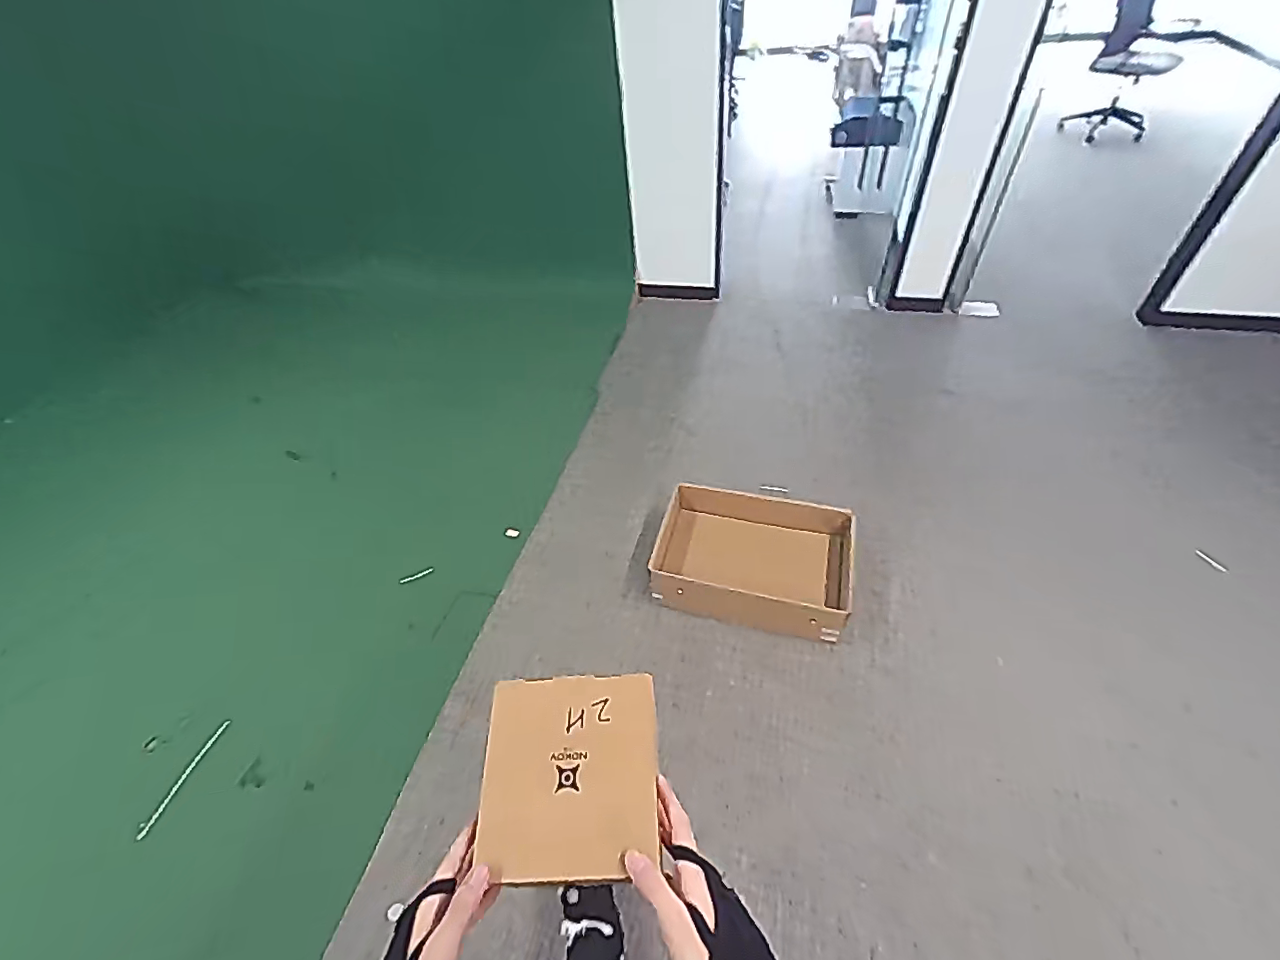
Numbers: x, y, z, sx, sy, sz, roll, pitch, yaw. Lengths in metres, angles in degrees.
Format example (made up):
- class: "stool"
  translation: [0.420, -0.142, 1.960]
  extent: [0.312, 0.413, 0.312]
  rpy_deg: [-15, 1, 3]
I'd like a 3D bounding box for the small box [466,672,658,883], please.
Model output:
- class: "small box"
  translation: [-0.066, 0.321, 0.576]
  extent: [0.168, 0.176, 0.179]
  rpy_deg: [-2, 51, 2]
